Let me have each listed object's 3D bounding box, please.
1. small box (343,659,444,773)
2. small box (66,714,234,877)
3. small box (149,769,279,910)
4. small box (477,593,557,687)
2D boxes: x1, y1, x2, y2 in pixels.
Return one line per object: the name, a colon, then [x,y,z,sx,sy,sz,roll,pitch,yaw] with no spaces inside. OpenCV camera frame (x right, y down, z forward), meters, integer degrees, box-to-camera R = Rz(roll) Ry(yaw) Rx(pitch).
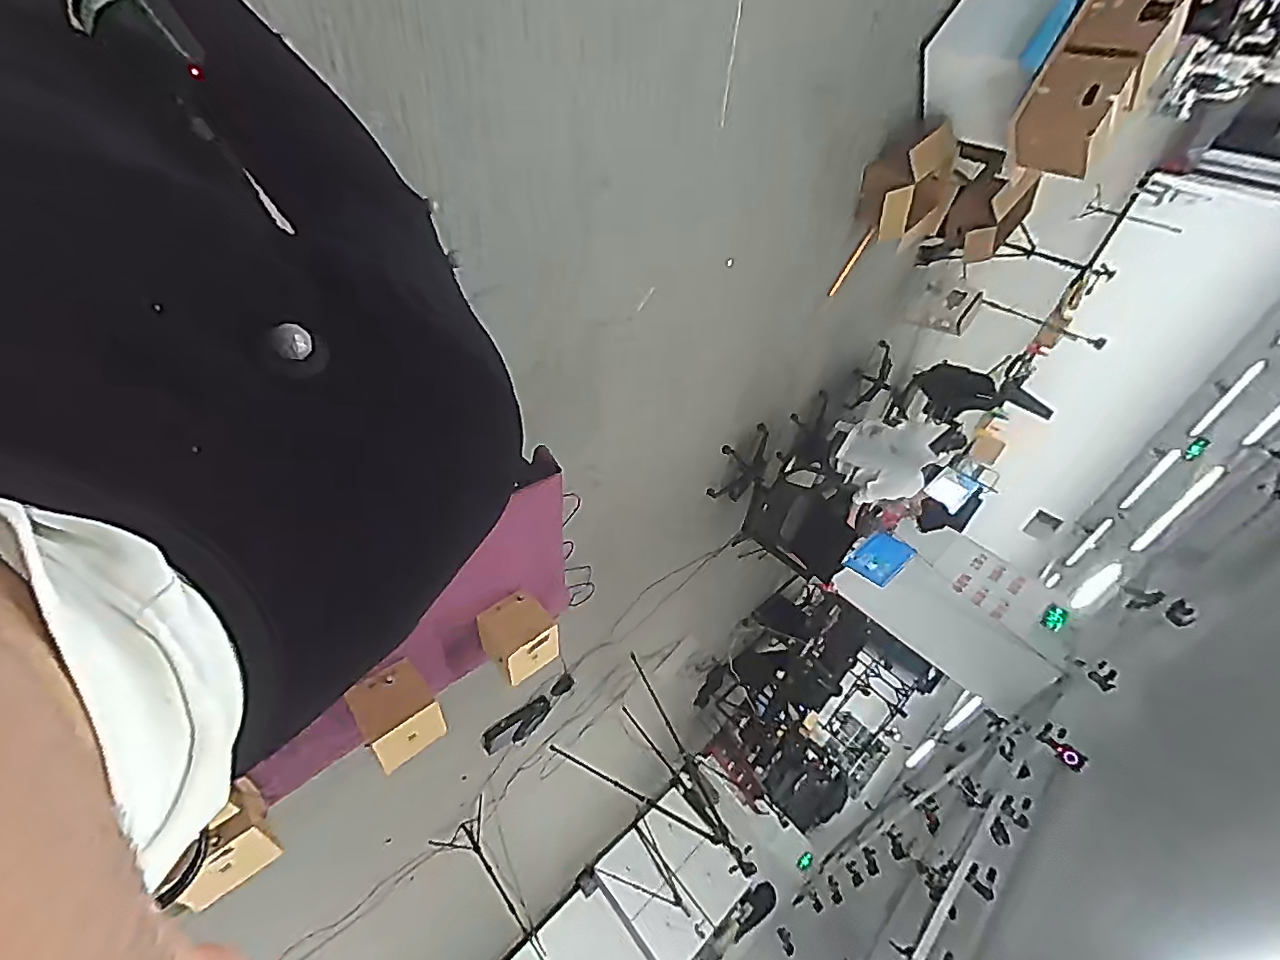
small box: [-0.623,0.593,1.375,0.168,0.176,0.179,-29,142,-34]
small box: [-0.889,0.567,0.989,0.168,0.176,0.179,-28,144,-35]
small box: [-0.918,0.763,1.160,0.168,0.176,0.179,-29,142,-34]
small box: [-0.359,0.455,1.573,0.168,0.176,0.179,-28,143,-33]
